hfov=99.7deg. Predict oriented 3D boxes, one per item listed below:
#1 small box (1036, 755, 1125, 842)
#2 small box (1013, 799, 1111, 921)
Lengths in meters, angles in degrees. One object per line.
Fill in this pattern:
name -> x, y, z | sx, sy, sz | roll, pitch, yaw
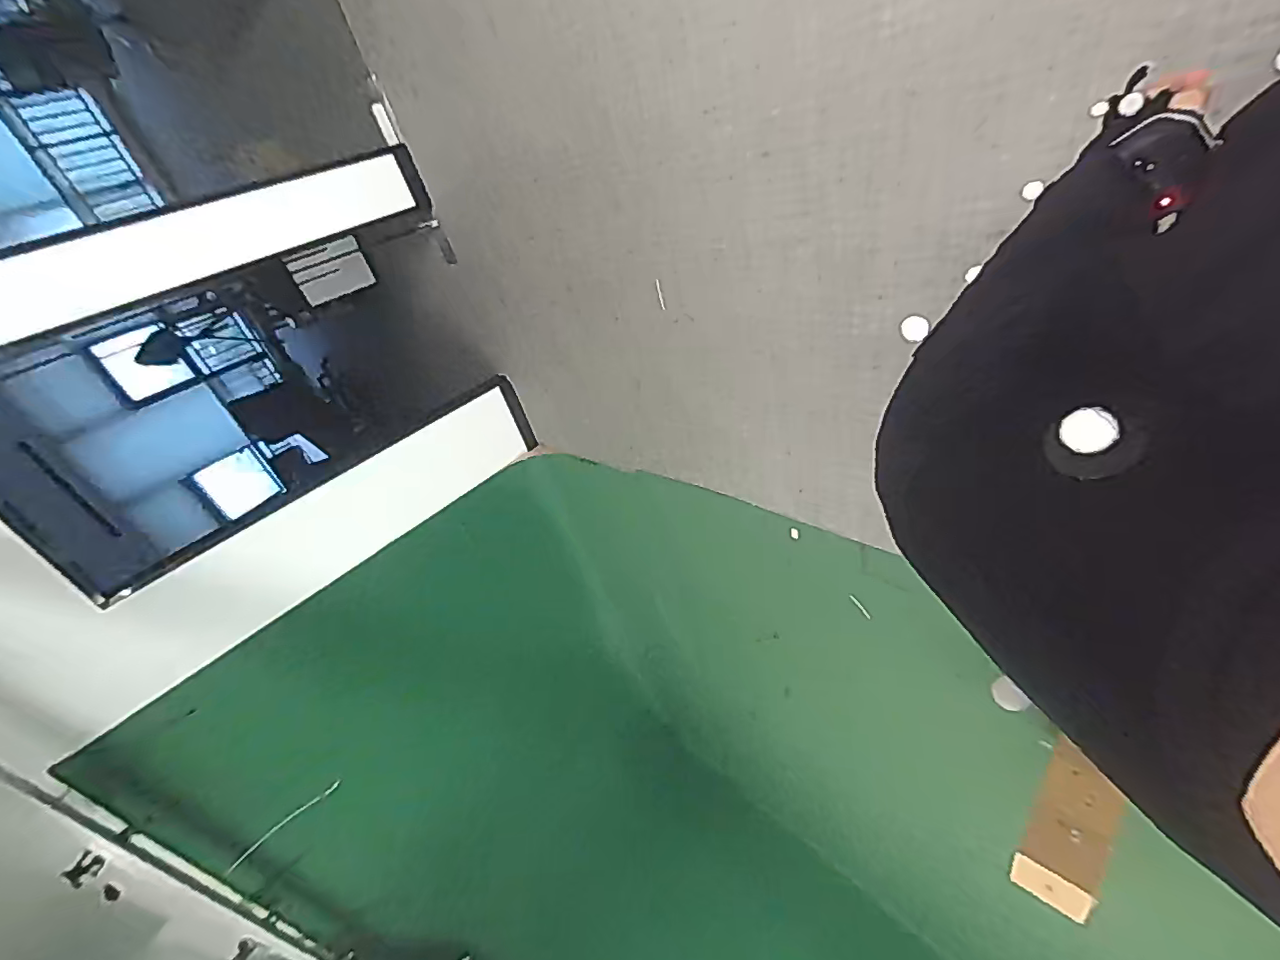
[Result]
small box -> 1.237, 0.923, 1.530 | 0.168, 0.176, 0.179 | 21, 139, 43
small box -> 1.126, 1.008, 1.445 | 0.168, 0.176, 0.179 | 17, 136, 44
